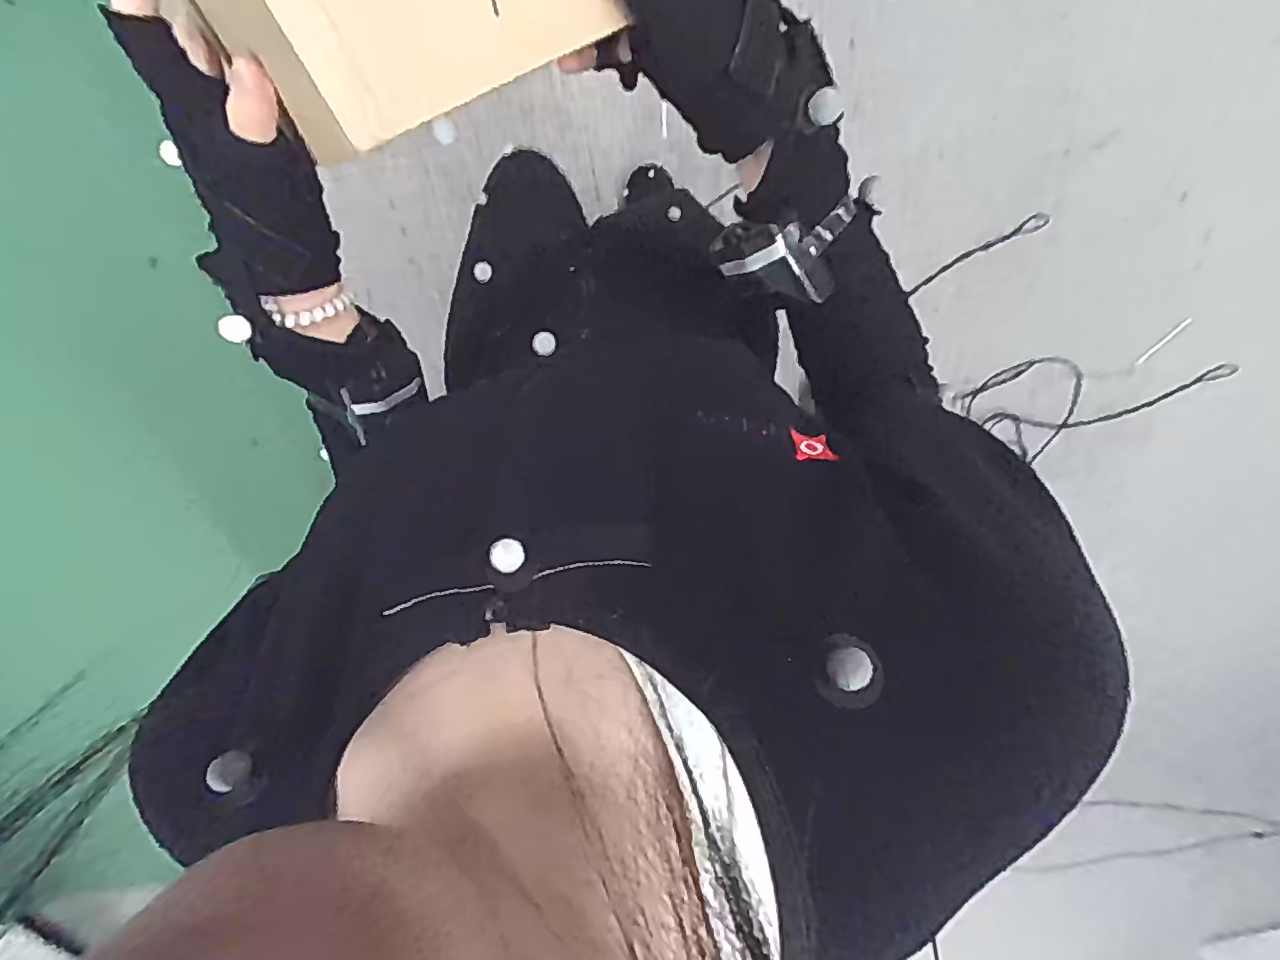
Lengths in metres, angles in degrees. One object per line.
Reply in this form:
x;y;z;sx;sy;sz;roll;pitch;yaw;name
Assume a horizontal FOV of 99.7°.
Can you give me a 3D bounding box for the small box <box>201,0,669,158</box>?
-0.120;-0.268;0.236;0.168;0.176;0.179;-39;131;-17;small box
